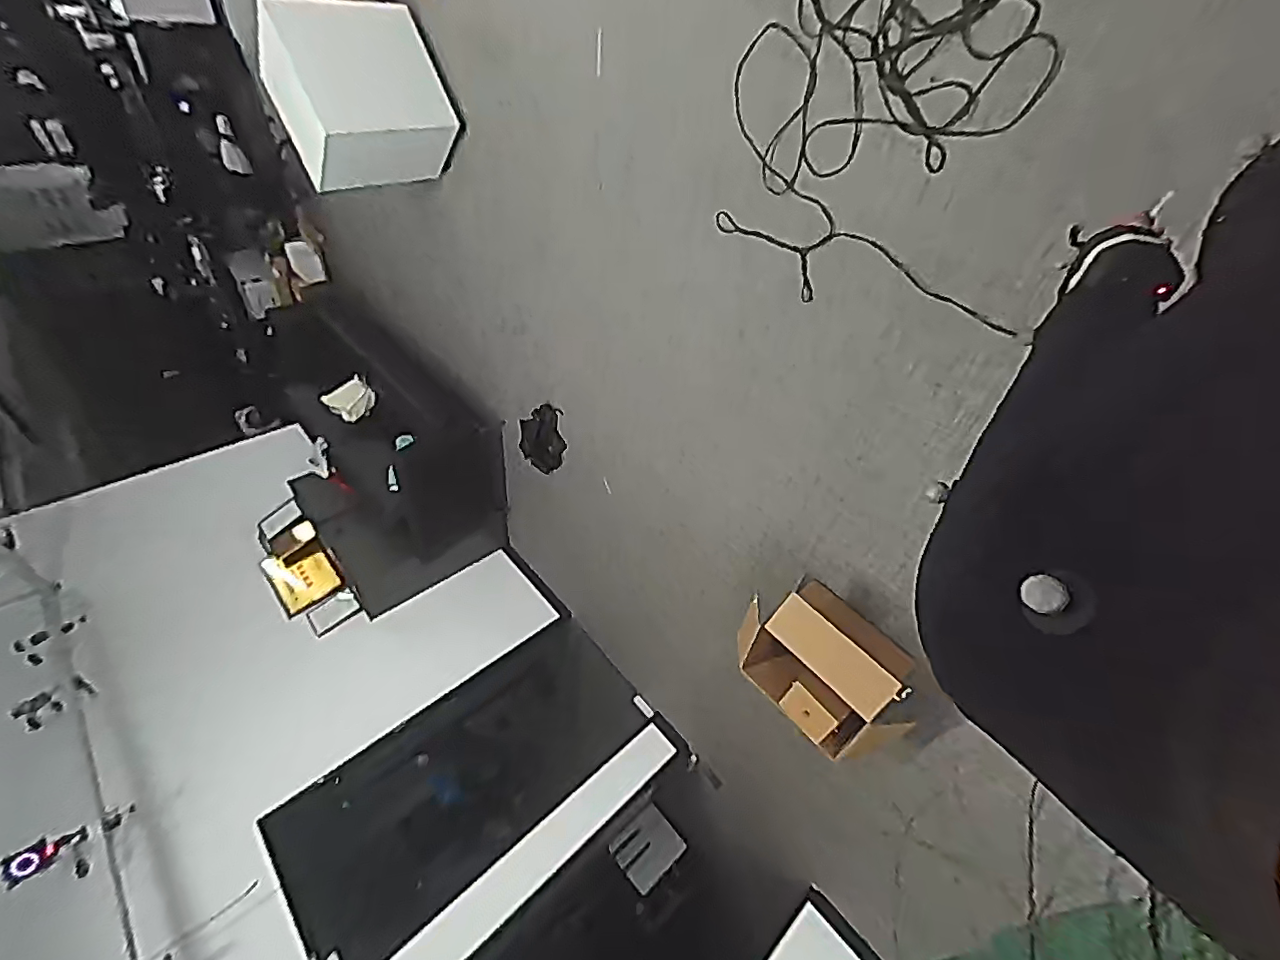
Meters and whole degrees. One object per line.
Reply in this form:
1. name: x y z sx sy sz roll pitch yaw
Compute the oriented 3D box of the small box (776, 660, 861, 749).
1. small box: 0.574 0.717 1.737 0.168 0.176 0.179 44 140 28
